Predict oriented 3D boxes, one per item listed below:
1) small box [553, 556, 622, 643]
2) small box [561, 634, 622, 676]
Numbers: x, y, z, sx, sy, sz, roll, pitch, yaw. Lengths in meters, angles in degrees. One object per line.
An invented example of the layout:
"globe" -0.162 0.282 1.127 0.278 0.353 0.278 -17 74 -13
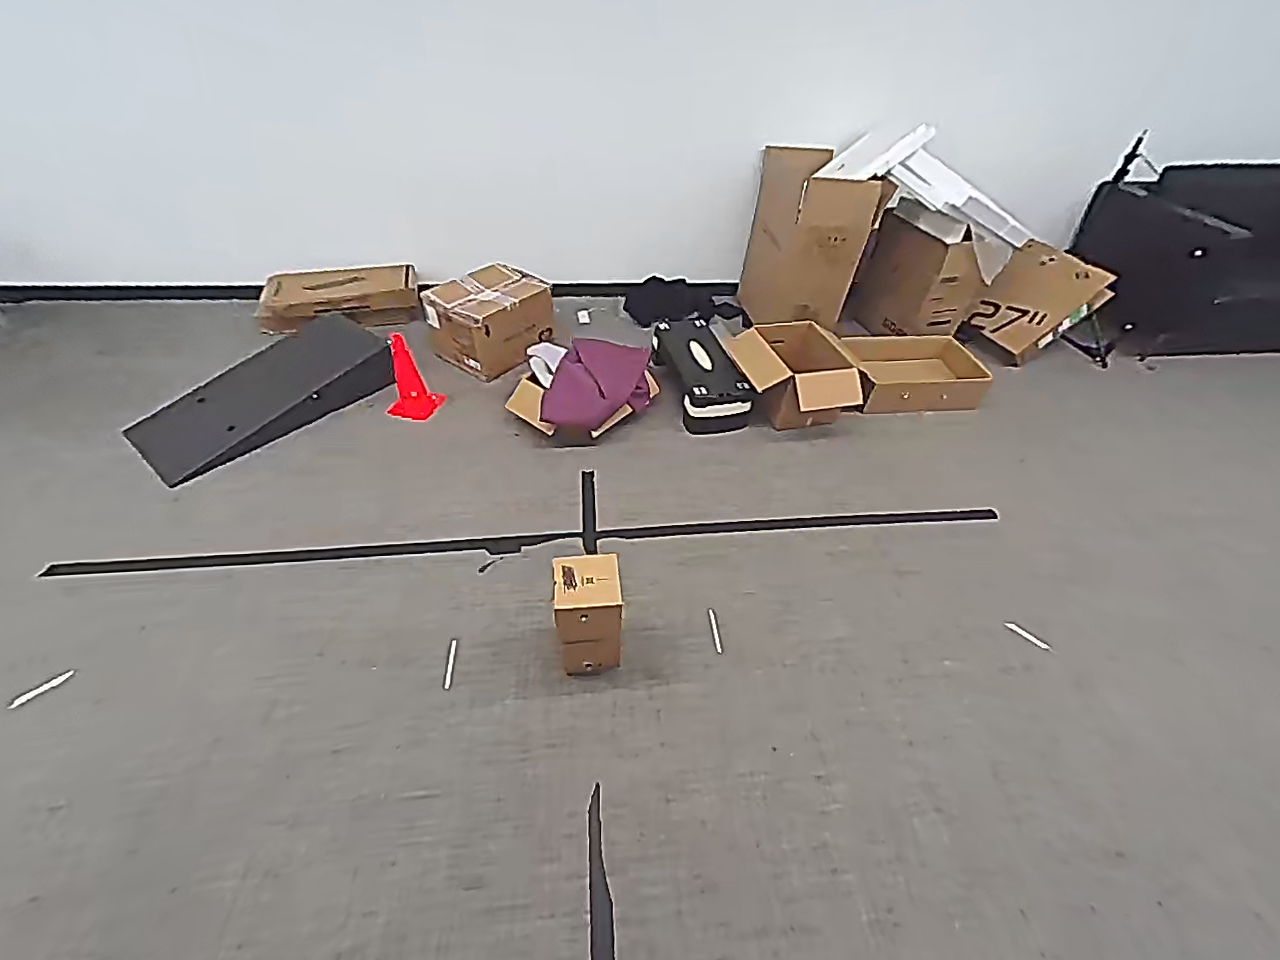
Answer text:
"small box" -0.143 0.327 1.471 0.179 0.176 0.168 -3 45 -7
"small box" -0.149 0.446 1.585 0.168 0.176 0.179 -7 46 -9
